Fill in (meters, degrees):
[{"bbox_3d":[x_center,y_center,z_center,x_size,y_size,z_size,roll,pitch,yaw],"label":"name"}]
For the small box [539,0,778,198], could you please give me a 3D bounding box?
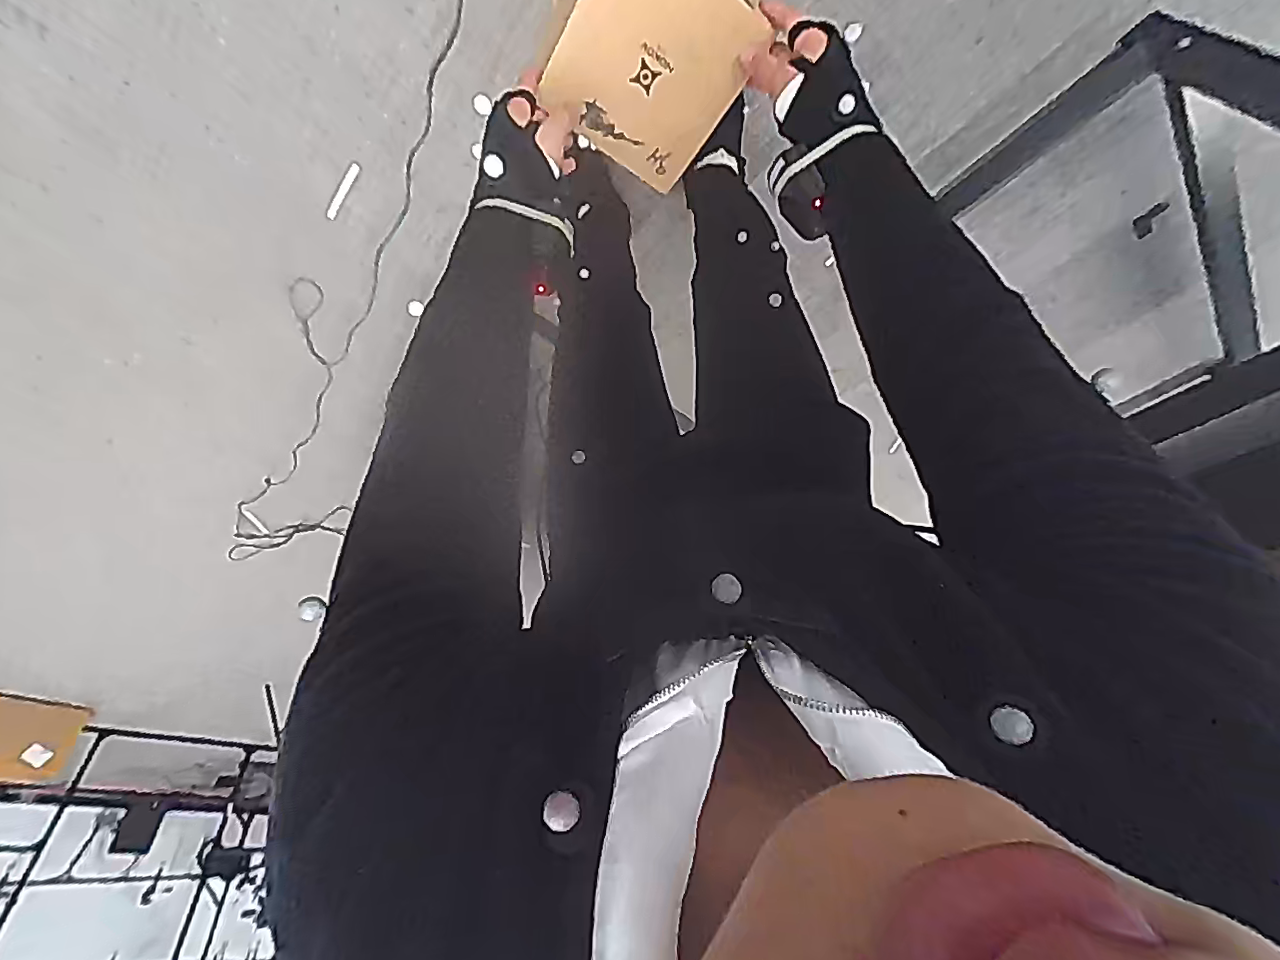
[{"bbox_3d":[0.008,-0.446,0.557,0.168,0.176,0.179,21,135,-29],"label":"small box"}]
